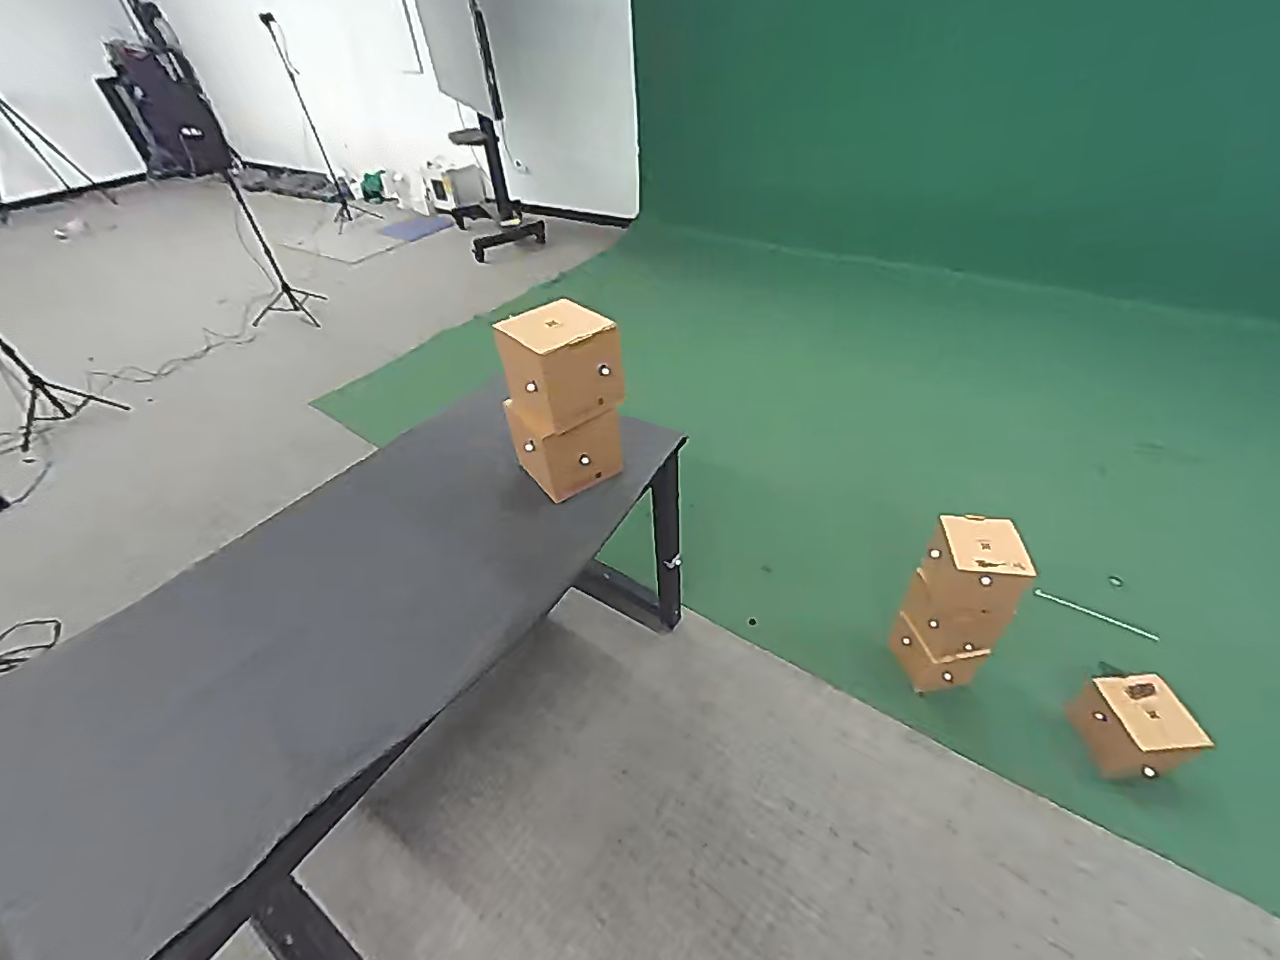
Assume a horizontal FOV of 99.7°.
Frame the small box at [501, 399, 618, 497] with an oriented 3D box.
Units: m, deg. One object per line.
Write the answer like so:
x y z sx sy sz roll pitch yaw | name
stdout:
-0.161 -0.086 1.121 0.168 0.176 0.179 -28 44 -24 | small box

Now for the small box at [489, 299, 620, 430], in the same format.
-0.155 -0.215 1.020 0.168 0.176 0.179 -31 46 -28 | small box

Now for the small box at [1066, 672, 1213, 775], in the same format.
1.210 0.600 1.331 0.168 0.176 0.179 -5 43 0 | small box

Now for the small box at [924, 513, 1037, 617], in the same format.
0.813 0.206 1.315 0.168 0.176 0.179 4 43 10 | small box

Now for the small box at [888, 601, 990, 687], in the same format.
0.830 0.463 1.520 0.168 0.176 0.179 -9 42 -5 | small box
